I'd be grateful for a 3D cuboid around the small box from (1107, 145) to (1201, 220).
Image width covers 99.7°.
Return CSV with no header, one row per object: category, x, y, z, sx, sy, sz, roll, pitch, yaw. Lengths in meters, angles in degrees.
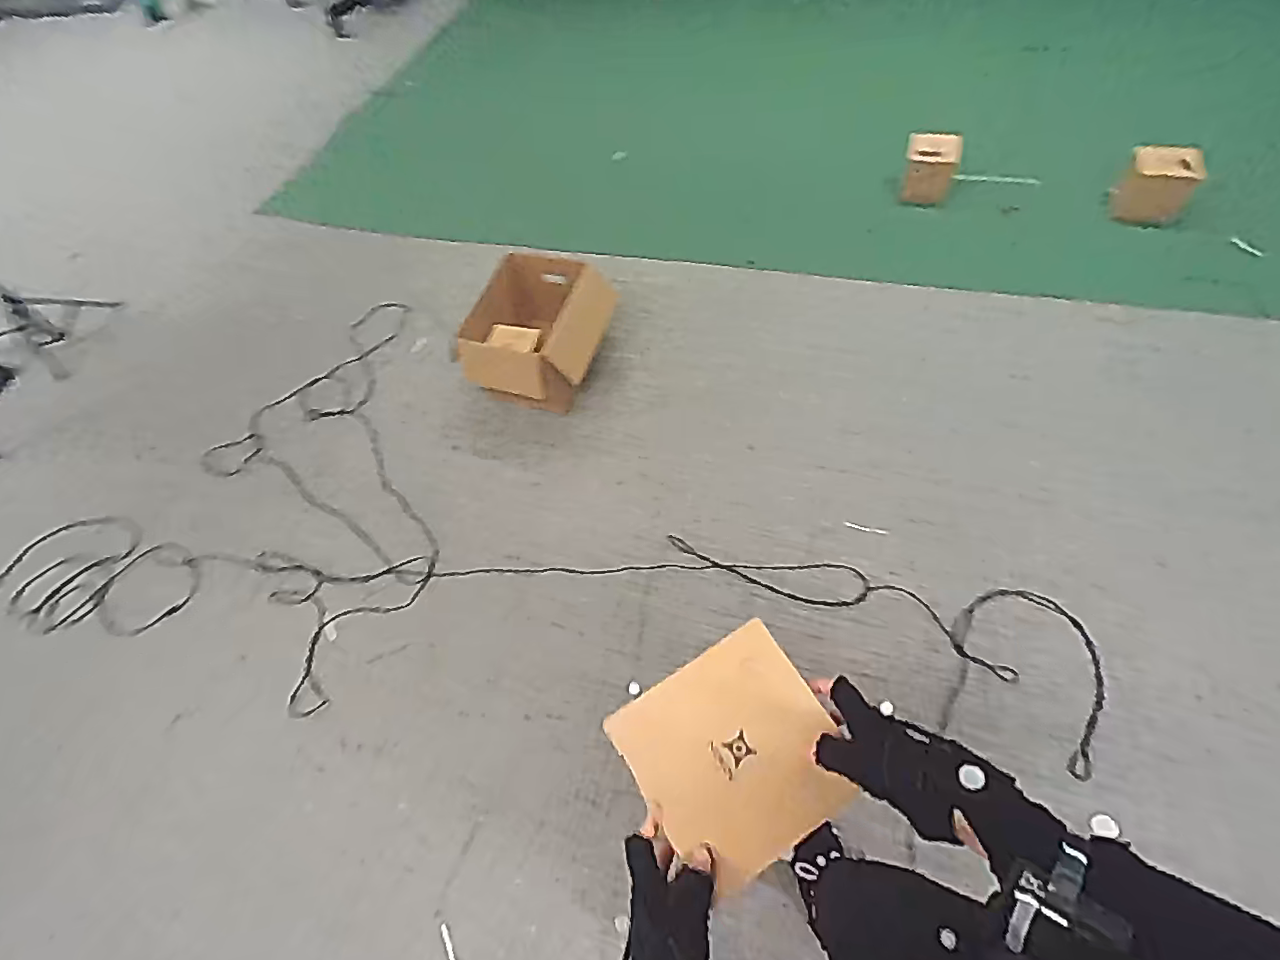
small box,1.790,-1.037,1.893,0.179,0.176,0.168,13,63,16
